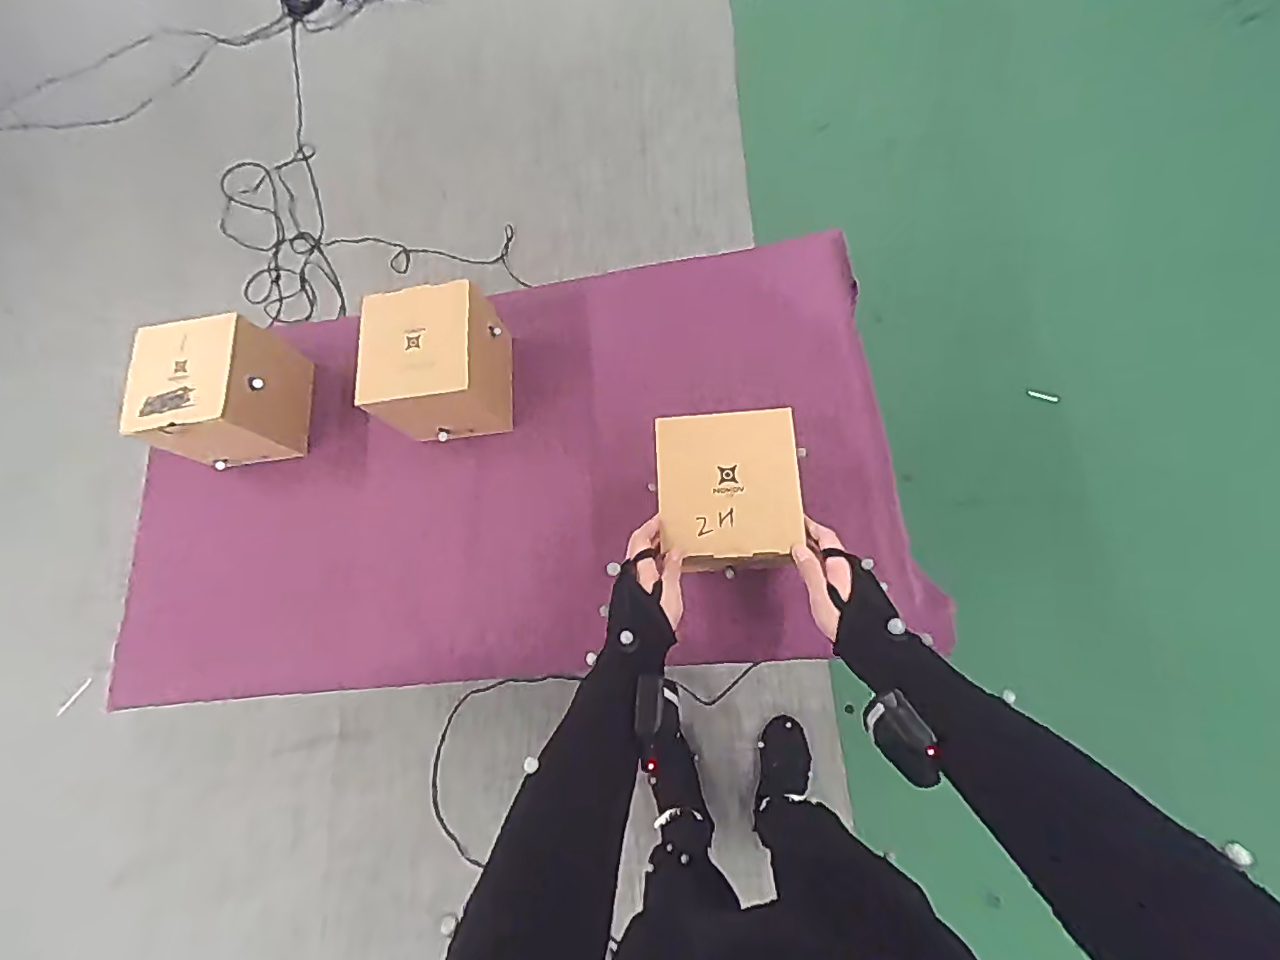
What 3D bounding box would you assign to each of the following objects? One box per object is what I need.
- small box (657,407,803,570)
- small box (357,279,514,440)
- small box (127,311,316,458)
[{"bbox_3d":[0.112,0.020,0.710,0.168,0.176,0.179,-3,75,8],"label":"small box"},{"bbox_3d":[-0.301,-0.176,0.831,0.168,0.176,0.179,-6,74,7],"label":"small box"},{"bbox_3d":[-0.656,-0.141,0.870,0.168,0.176,0.179,-7,73,6],"label":"small box"}]
